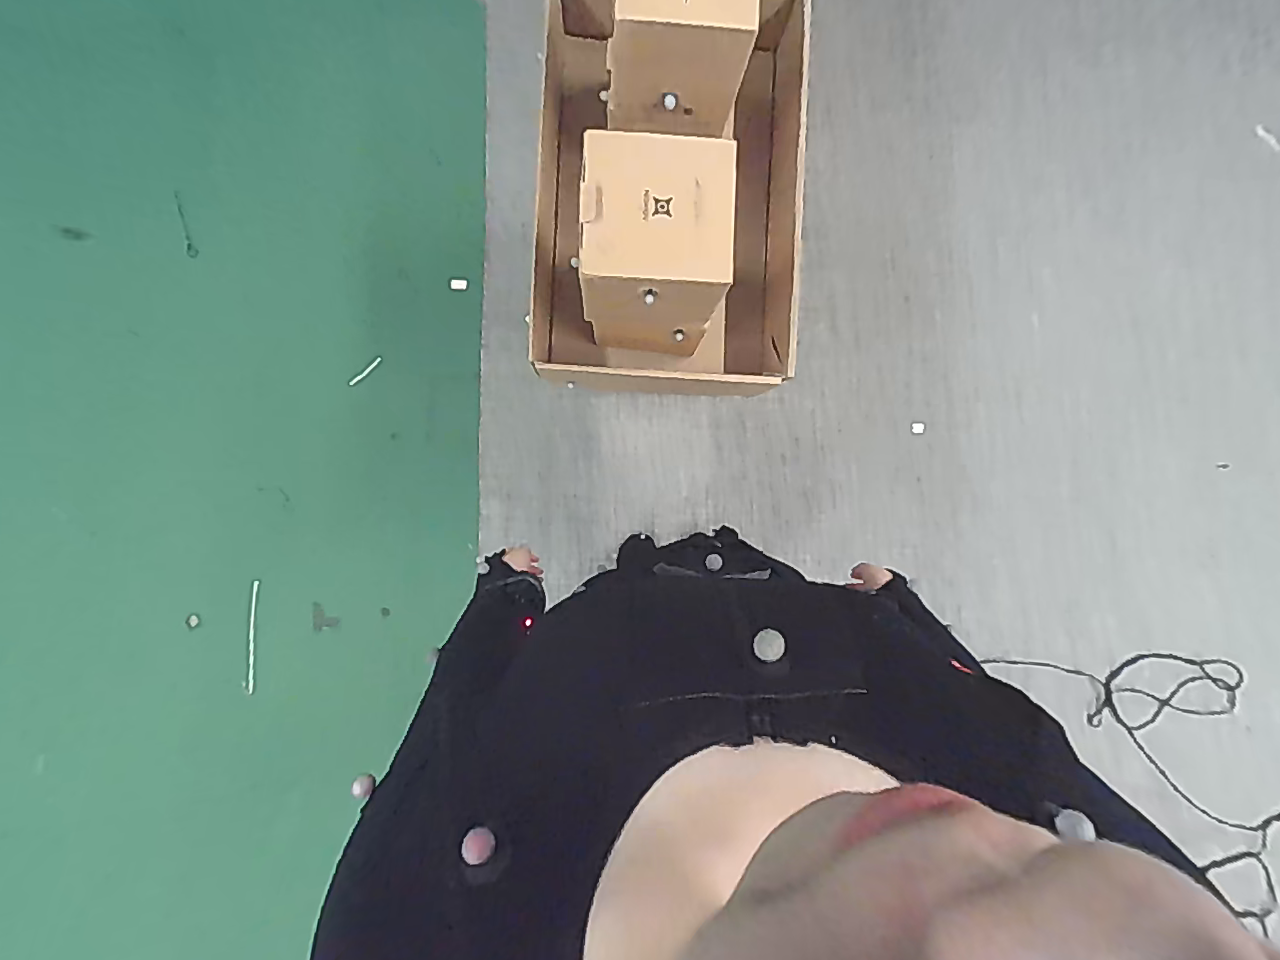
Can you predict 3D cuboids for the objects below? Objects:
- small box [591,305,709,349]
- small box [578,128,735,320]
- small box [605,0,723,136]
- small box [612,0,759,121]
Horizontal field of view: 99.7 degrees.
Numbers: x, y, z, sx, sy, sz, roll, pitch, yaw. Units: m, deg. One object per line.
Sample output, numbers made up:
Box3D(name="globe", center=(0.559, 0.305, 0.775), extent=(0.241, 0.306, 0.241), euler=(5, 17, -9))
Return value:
Box3D(name="small box", center=(0.015, -0.313, 0.852), extent=(0.179, 0.176, 0.168), euler=(6, 89, -4))
Box3D(name="small box", center=(0.015, -0.311, 0.690), extent=(0.179, 0.176, 0.168), euler=(1, 90, -4))
Box3D(name="small box", center=(0.040, -0.609, 0.851), extent=(0.179, 0.176, 0.168), euler=(4, 92, -3))
Box3D(name="small box", center=(0.051, -0.602, 0.687), extent=(0.168, 0.176, 0.179), euler=(2, 92, -3))
